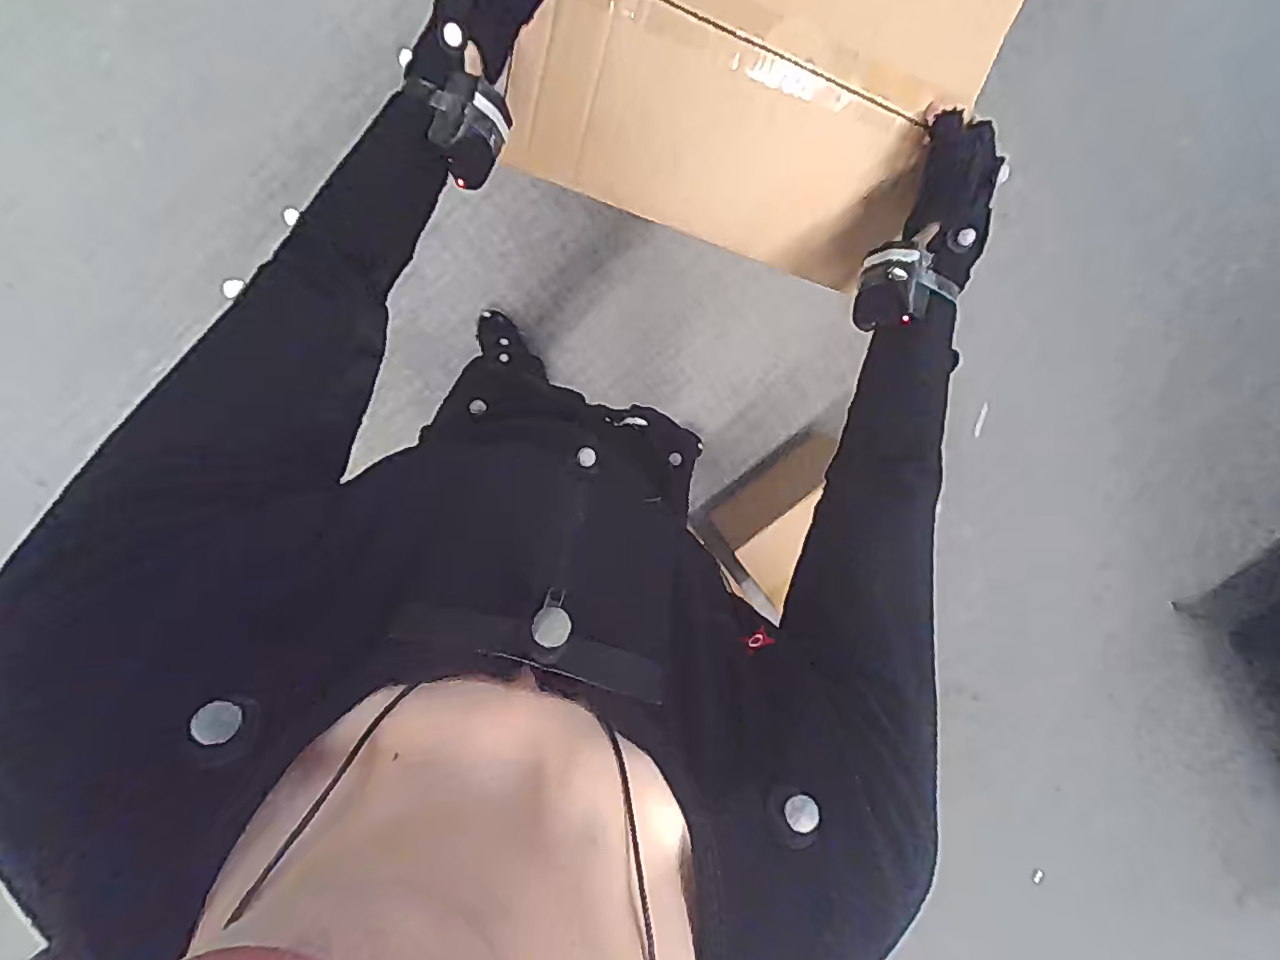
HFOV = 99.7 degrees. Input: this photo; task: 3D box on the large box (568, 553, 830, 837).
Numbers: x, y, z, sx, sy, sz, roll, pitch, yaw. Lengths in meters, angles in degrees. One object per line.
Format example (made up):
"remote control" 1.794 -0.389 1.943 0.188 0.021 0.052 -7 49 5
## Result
"large box" 0.105 0.424 1.147 0.408 0.320 0.320 -39 99 3
